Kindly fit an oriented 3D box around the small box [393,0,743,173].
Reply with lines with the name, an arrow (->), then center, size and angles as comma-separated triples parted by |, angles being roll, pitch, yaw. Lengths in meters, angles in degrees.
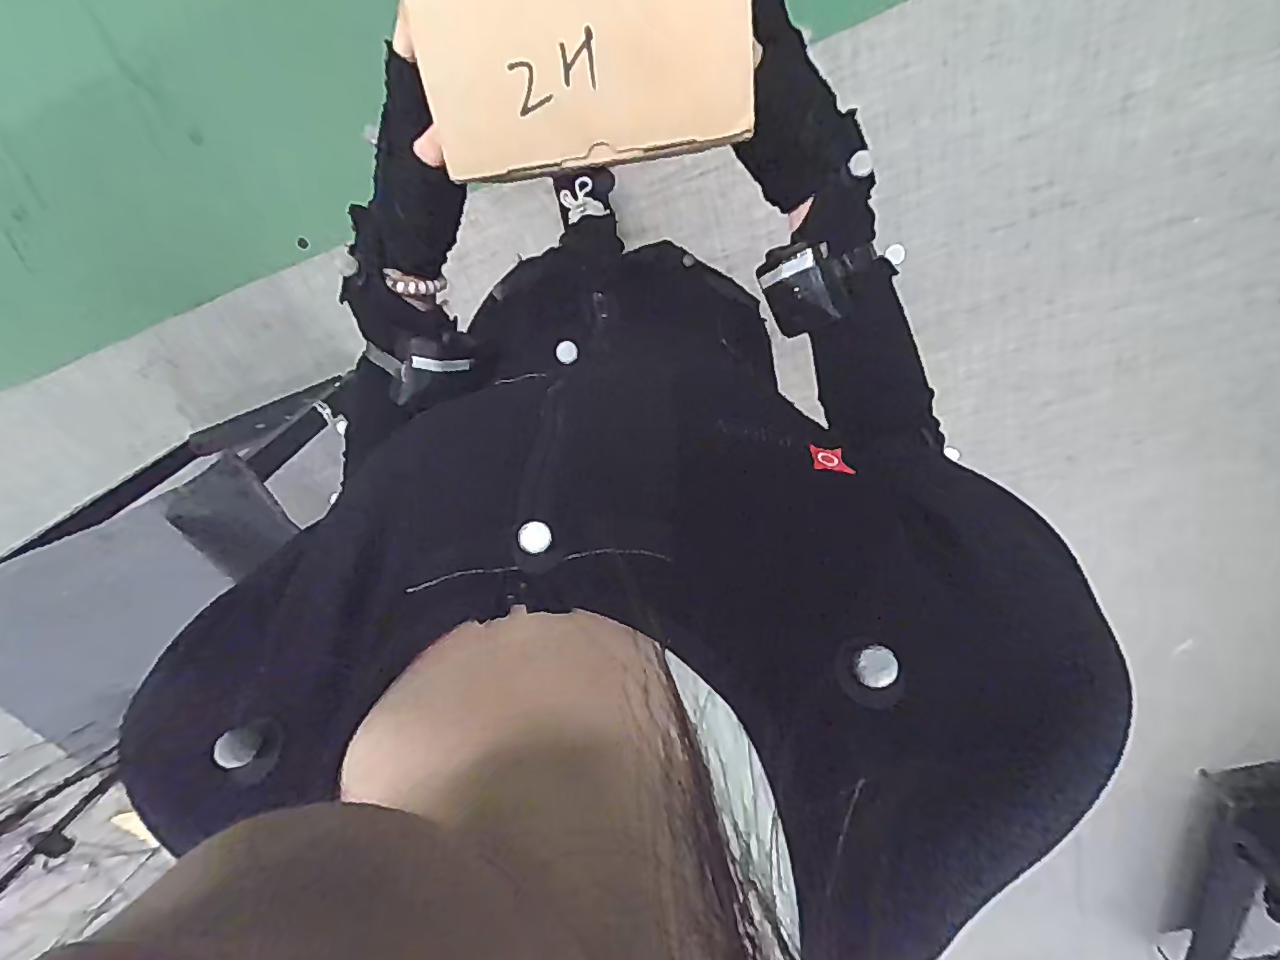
small box -> -0.042, -0.286, 0.312 | 0.168, 0.176, 0.179 | -8, 120, 0
